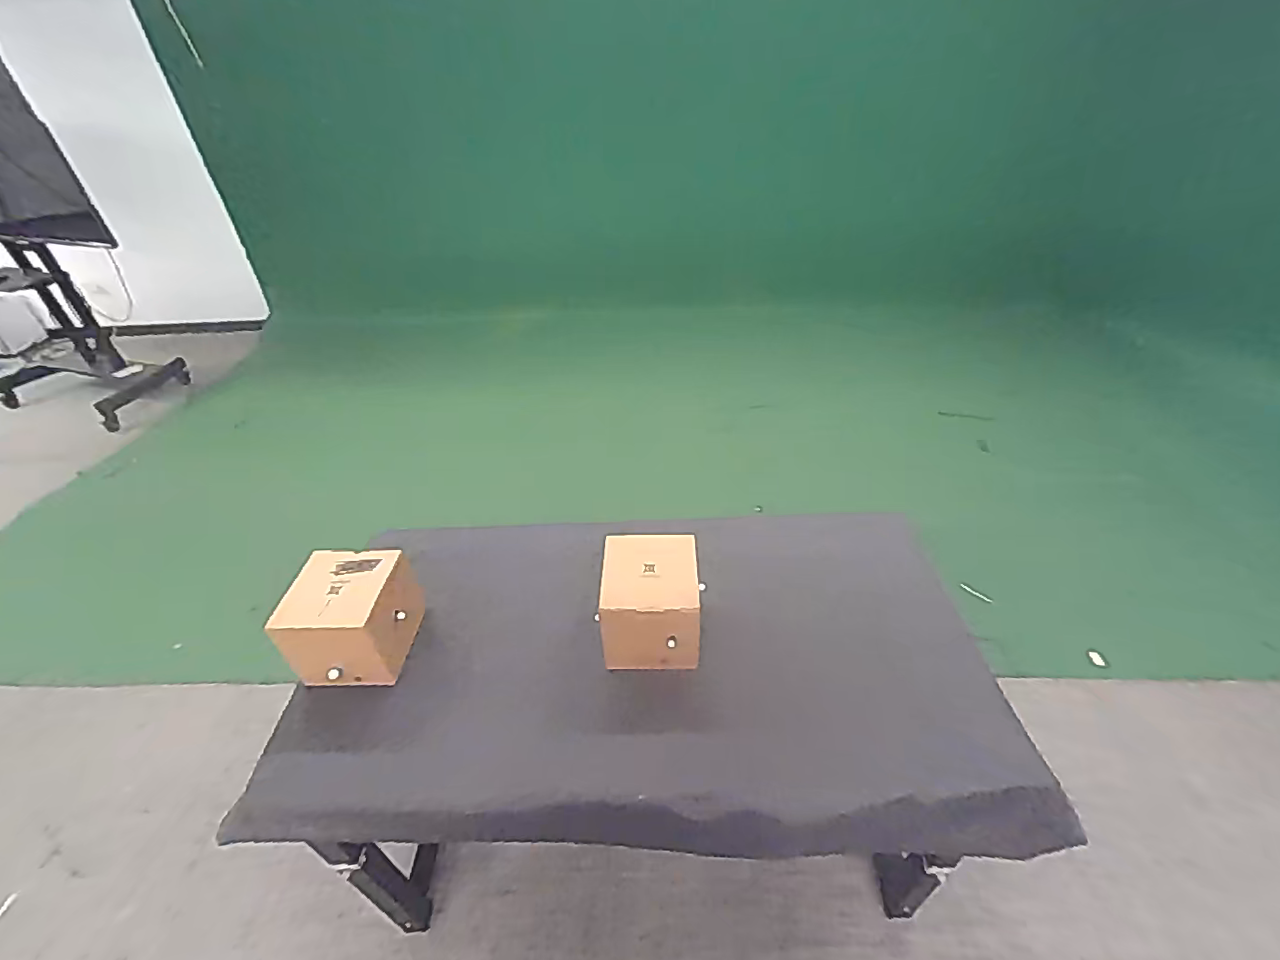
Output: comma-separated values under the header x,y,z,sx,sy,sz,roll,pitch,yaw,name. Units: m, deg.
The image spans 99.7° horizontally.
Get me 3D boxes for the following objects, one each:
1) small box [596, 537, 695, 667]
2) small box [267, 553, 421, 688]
x,y,z,sx,sy,sz,roll,pitch,yaw,name
0.013,0.225,0.992,0.168,0.176,0.179,-1,37,0,small box
-0.517,0.253,0.980,0.168,0.176,0.179,-1,39,1,small box
